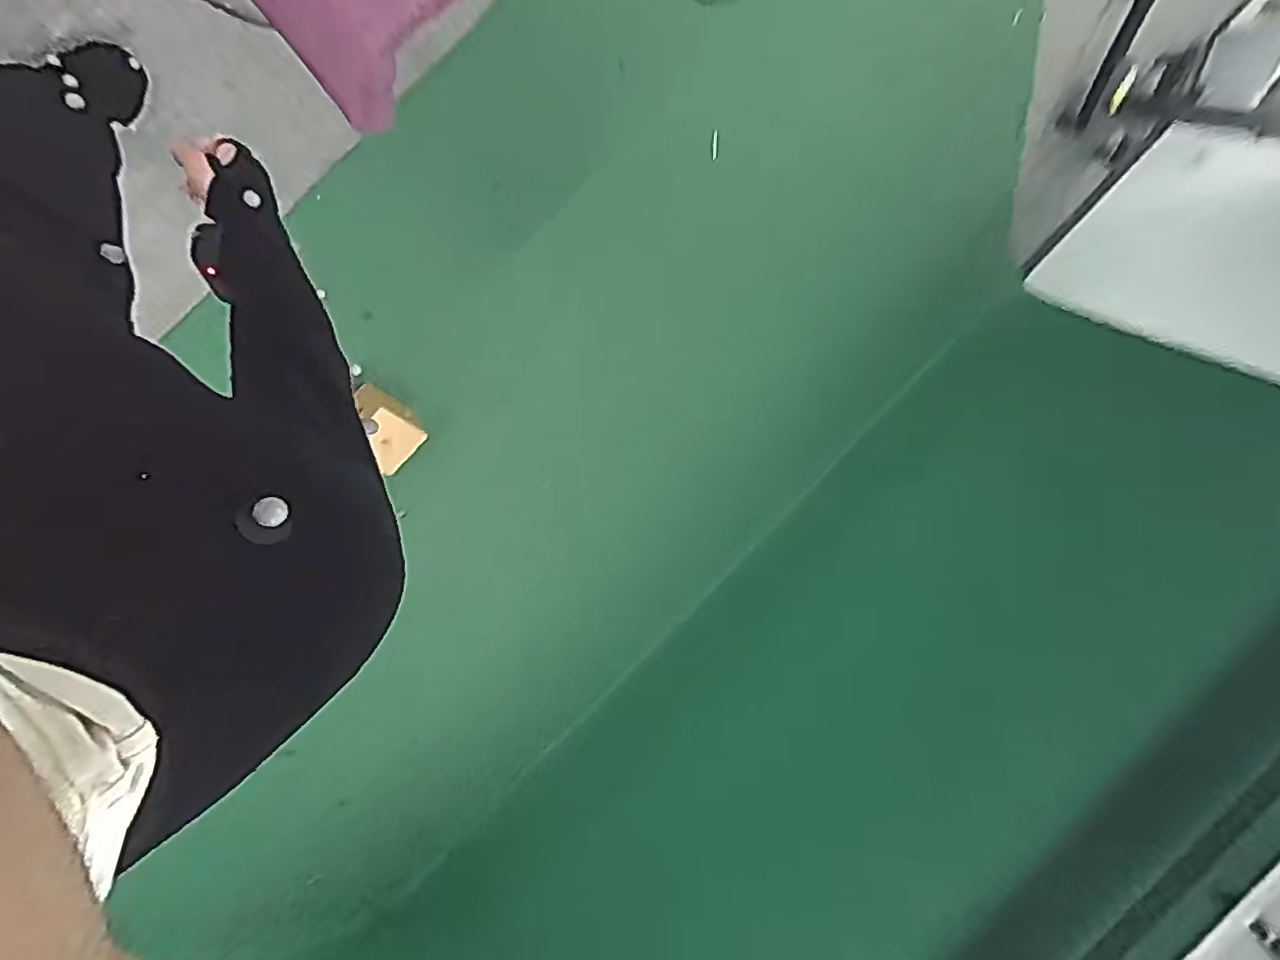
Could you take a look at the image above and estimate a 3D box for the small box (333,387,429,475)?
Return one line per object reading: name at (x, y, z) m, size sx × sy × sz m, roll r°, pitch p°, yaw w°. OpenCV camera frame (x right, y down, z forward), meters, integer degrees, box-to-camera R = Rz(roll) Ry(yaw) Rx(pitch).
small box at (-0.771, -0.152, 1.600) m, size 0.168 × 0.176 × 0.179 m, roll -46°, pitch 143°, yaw 1°
